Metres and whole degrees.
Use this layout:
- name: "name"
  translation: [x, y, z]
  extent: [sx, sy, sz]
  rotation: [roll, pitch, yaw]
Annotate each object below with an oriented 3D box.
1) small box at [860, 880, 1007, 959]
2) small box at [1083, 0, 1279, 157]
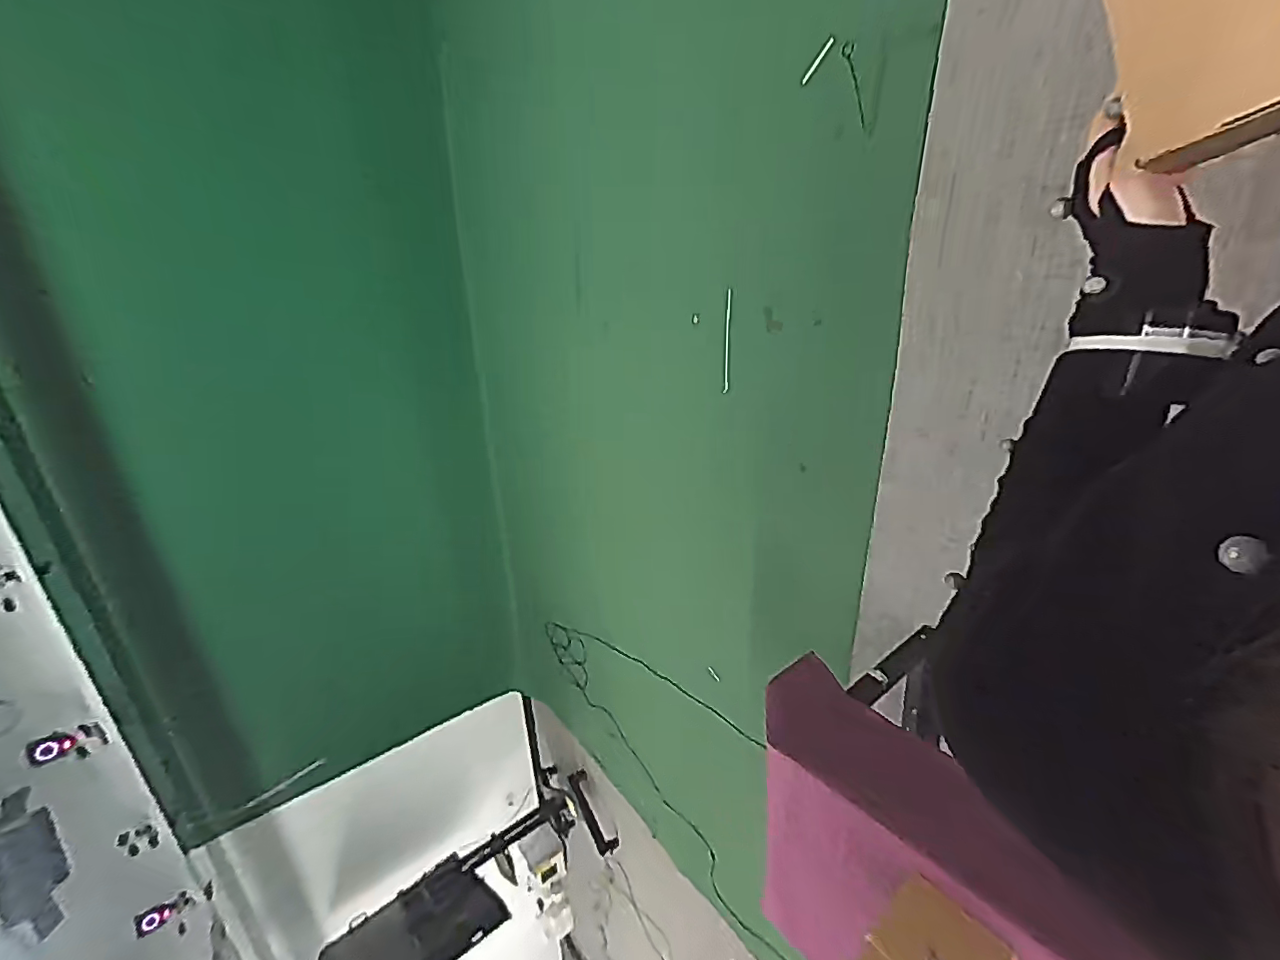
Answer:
- name: "small box"
  translation: [0.498, 0.855, 0.931]
  extent: [0.179, 0.176, 0.168]
  rotation: [23, 121, 48]
- name: "small box"
  translation: [0.335, -0.288, 0.264]
  extent: [0.168, 0.176, 0.179]
  rotation: [-9, 102, 50]
